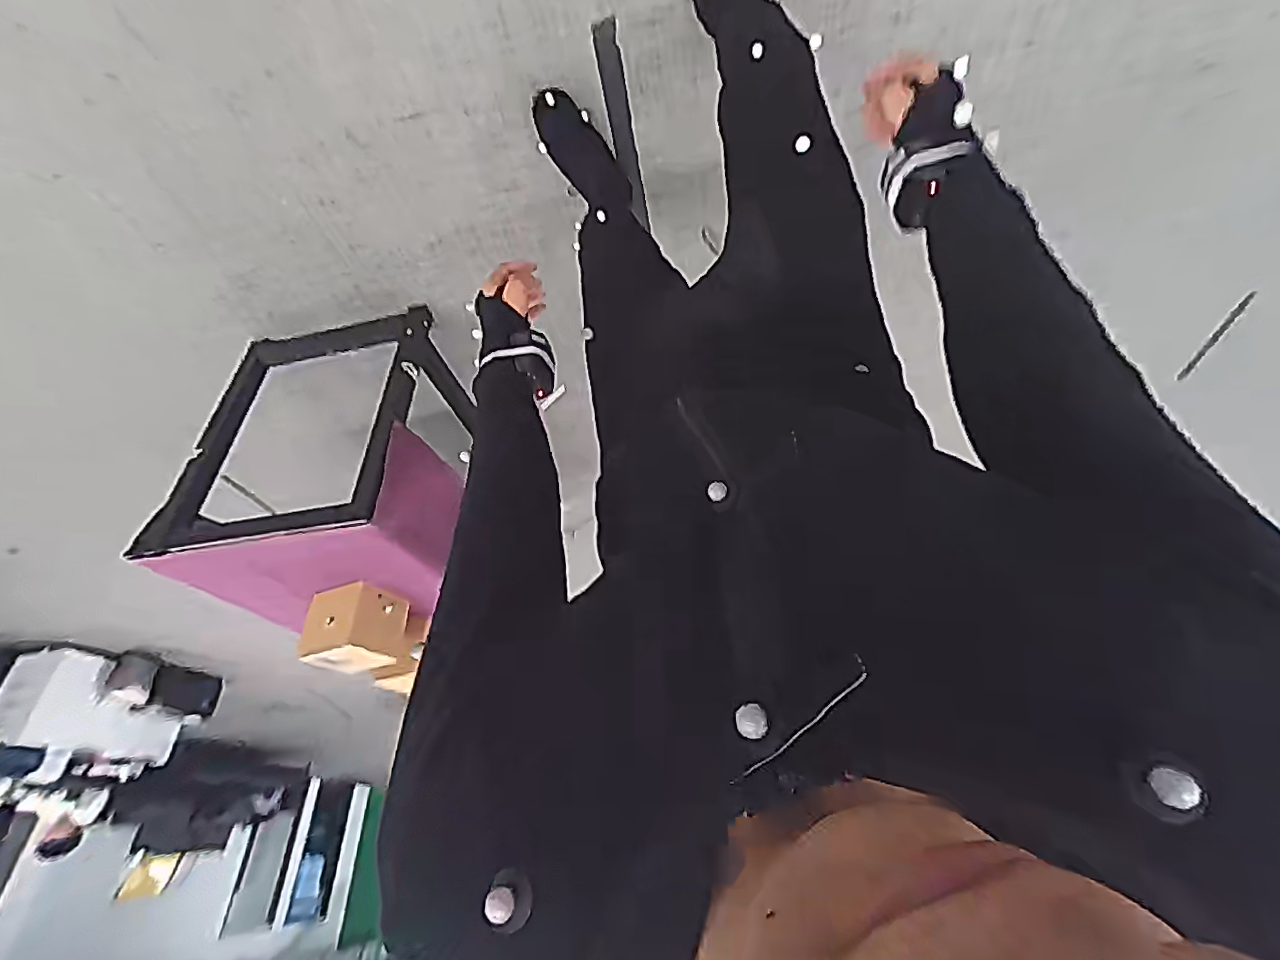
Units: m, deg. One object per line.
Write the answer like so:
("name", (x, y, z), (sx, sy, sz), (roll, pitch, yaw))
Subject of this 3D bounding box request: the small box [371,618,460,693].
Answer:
("small box", (-0.668, 0.530, 1.631), (0.179, 0.176, 0.168), (-14, 145, 16))

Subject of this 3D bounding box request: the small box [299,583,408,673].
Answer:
("small box", (-0.739, 0.389, 1.416), (0.179, 0.176, 0.168), (-17, 144, 18))
